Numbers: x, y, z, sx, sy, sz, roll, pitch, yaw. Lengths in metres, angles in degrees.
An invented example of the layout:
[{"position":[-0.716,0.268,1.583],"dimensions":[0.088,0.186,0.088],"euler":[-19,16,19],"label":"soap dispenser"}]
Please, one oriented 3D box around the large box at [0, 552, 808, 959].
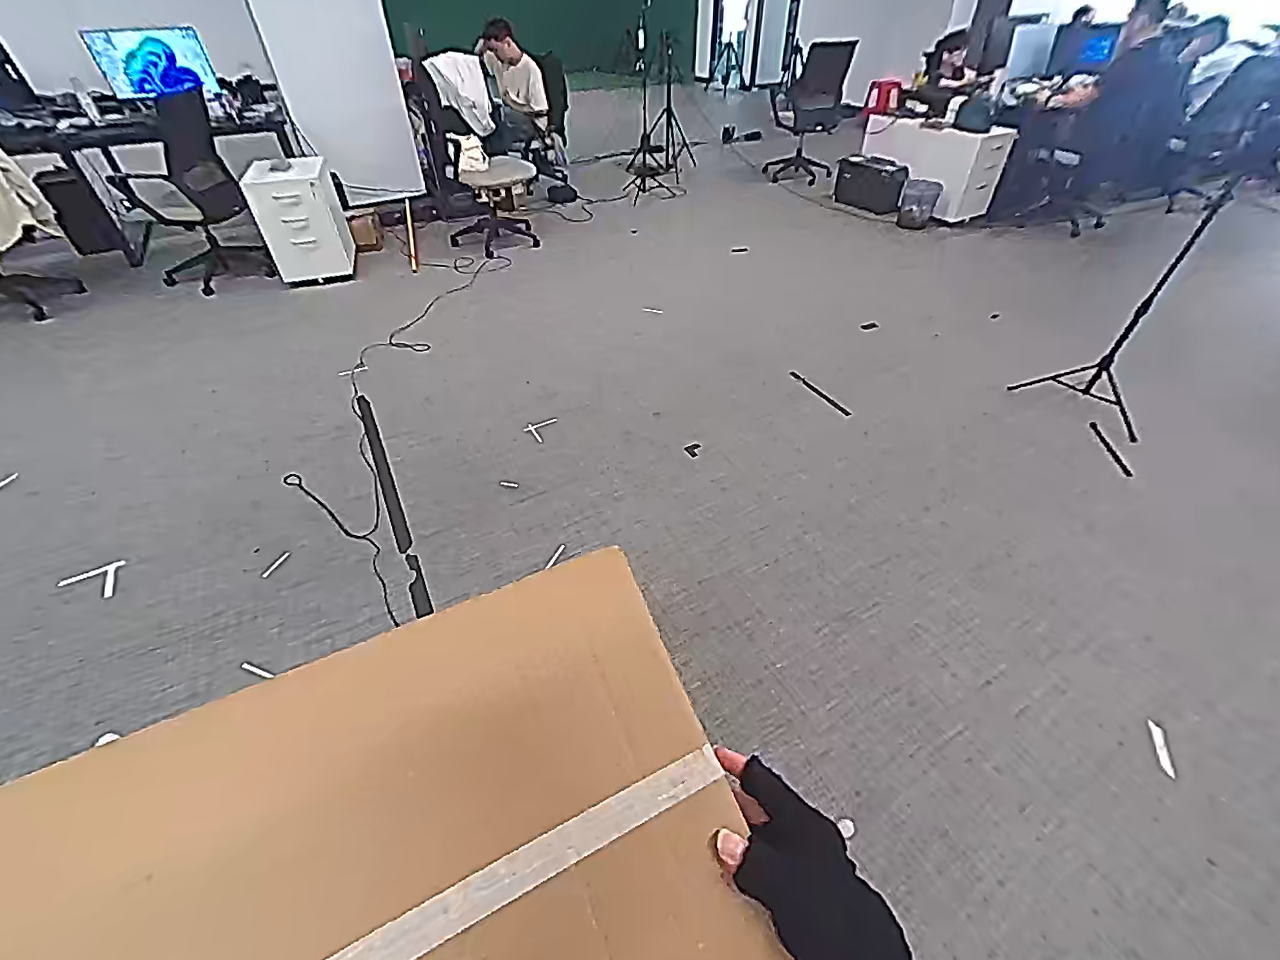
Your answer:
[{"position":[-0.155,0.306,0.428],"dimensions":[0.408,0.320,0.320],"euler":[-20,73,-19],"label":"large box"}]
